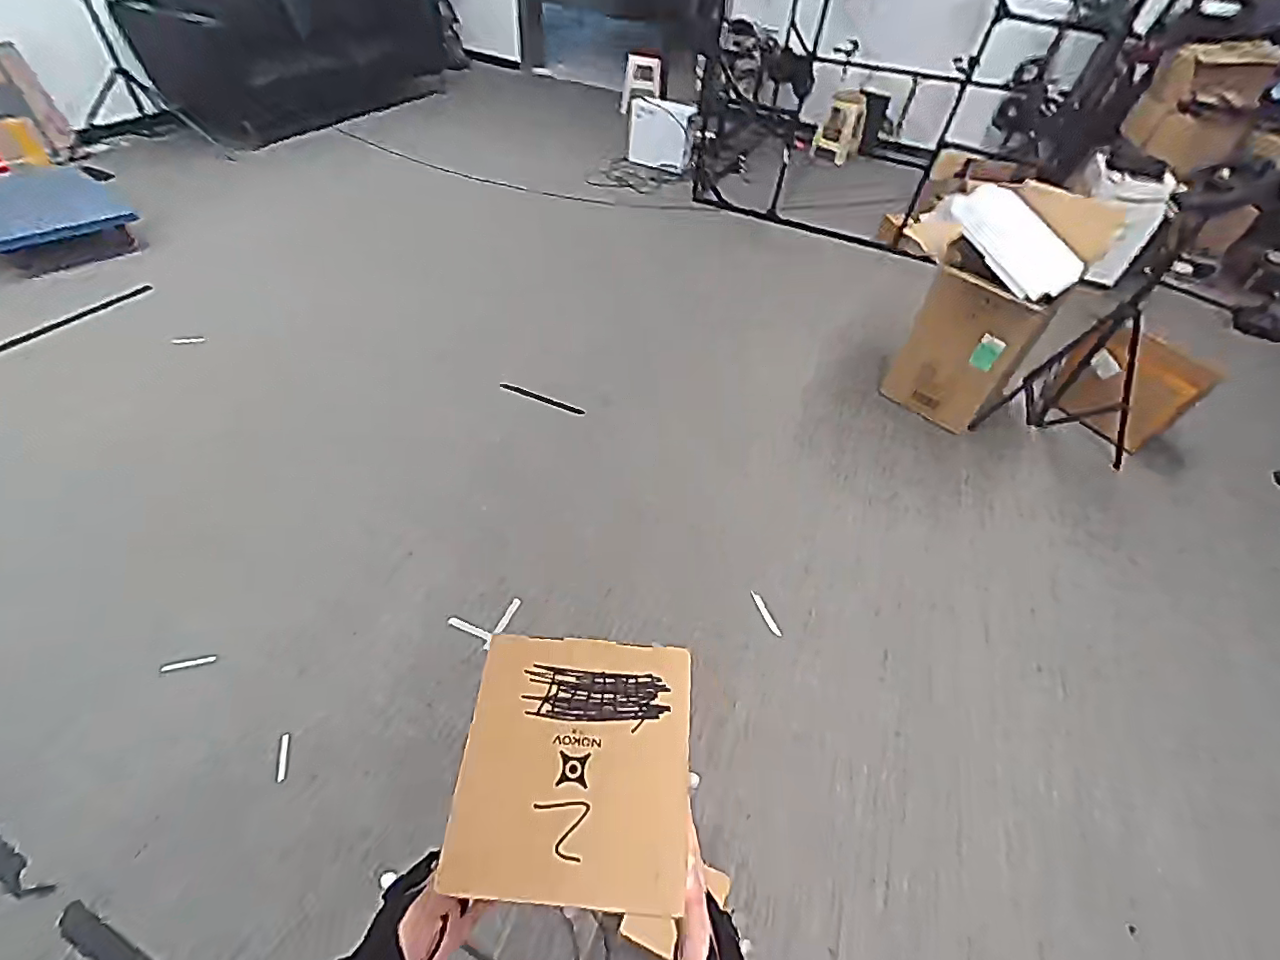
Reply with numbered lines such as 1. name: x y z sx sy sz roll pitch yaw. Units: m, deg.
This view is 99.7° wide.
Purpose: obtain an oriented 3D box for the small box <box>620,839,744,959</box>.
1. small box: 0.087 0.853 1.054 0.168 0.176 0.179 33 30 -2
